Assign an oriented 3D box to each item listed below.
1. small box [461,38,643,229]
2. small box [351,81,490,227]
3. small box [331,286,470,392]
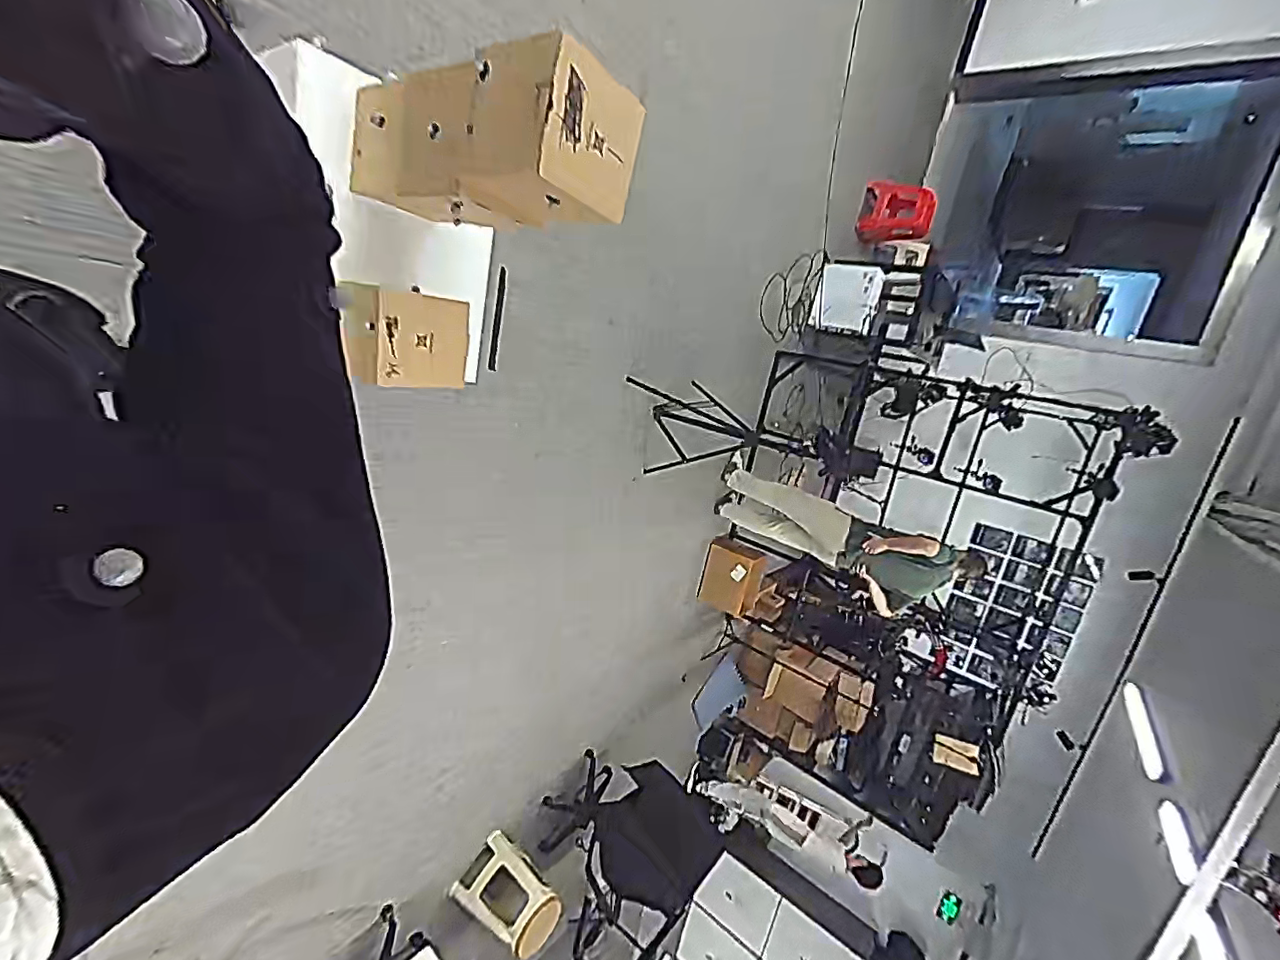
[{"bbox_3d":[-0.126,-0.470,0.765,0.179,0.176,0.168,-2,108,-56],"label":"small box"},{"bbox_3d":[-0.382,-0.559,0.952,0.179,0.176,0.168,-7,113,-54],"label":"small box"},{"bbox_3d":[-0.447,-0.263,1.012,0.179,0.176,0.168,-11,114,-53],"label":"small box"}]
